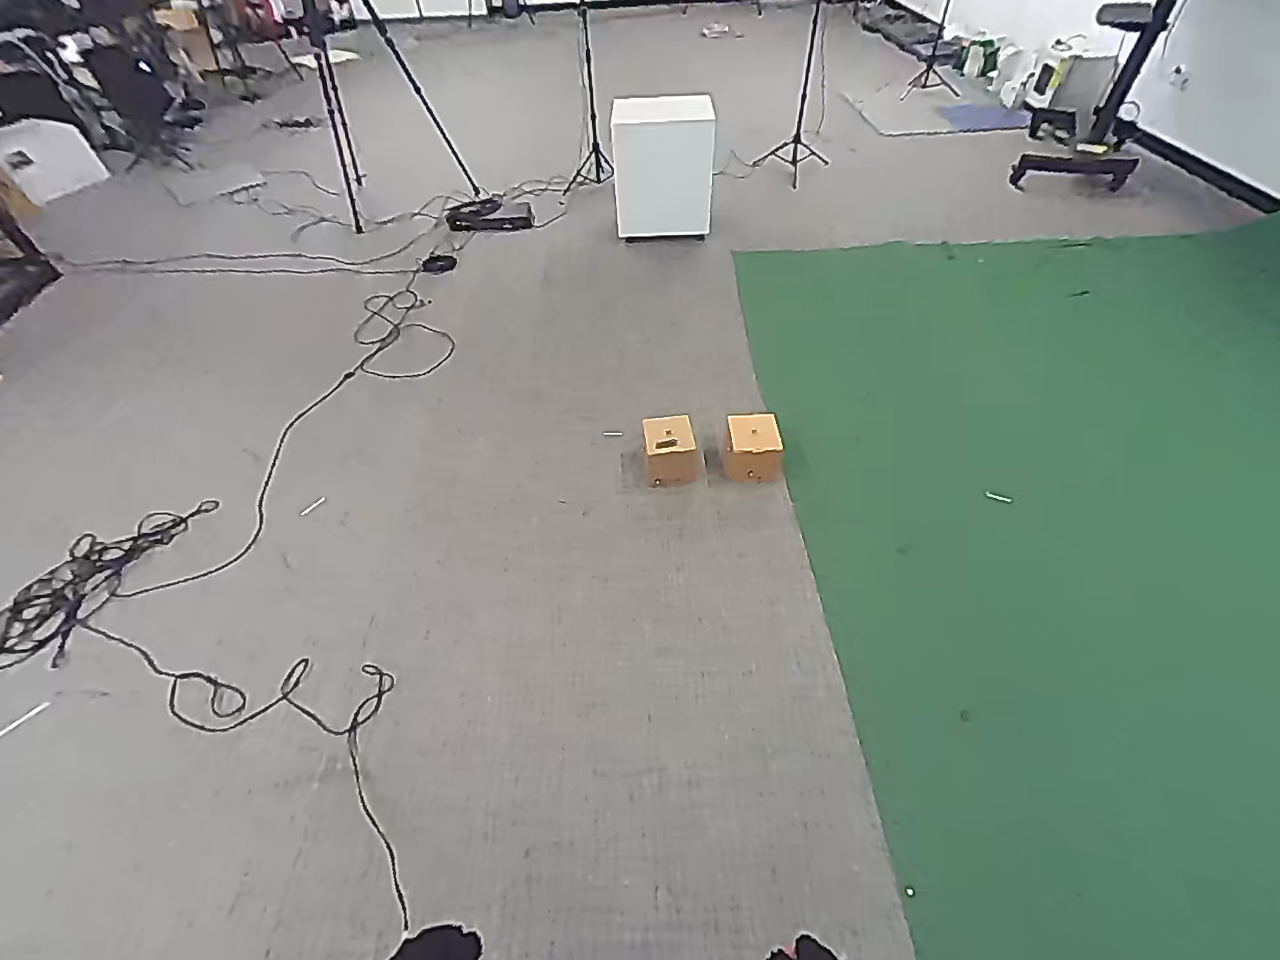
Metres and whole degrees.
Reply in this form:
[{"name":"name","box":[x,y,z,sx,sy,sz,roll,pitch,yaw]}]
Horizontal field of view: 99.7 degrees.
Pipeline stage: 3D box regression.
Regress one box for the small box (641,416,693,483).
[{"name":"small box","box":[0.094,-0.101,1.911,0.168,0.176,0.179,-5,49,-3]}]

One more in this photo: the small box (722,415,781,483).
[{"name":"small box","box":[0.387,-0.108,1.909,0.168,0.176,0.179,-3,50,0]}]
